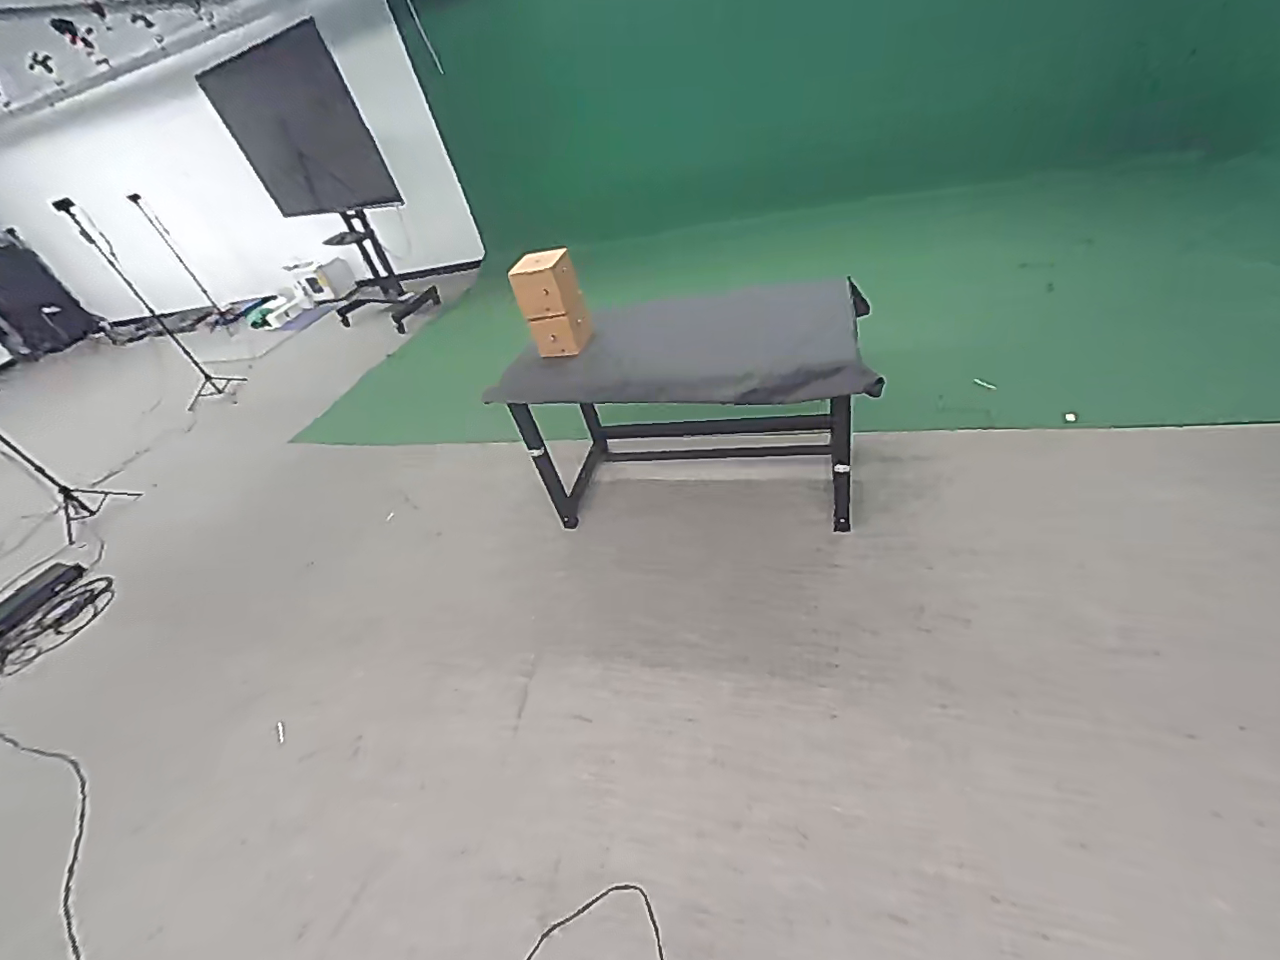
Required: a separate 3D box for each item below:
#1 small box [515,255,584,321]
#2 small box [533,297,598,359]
[{"bbox_3d":[-0.313,-0.678,1.925,0.168,0.176,0.179,0,41,18],"label":"small box"},{"bbox_3d":[-0.274,-0.566,2.037,0.168,0.176,0.179,1,42,20],"label":"small box"}]
